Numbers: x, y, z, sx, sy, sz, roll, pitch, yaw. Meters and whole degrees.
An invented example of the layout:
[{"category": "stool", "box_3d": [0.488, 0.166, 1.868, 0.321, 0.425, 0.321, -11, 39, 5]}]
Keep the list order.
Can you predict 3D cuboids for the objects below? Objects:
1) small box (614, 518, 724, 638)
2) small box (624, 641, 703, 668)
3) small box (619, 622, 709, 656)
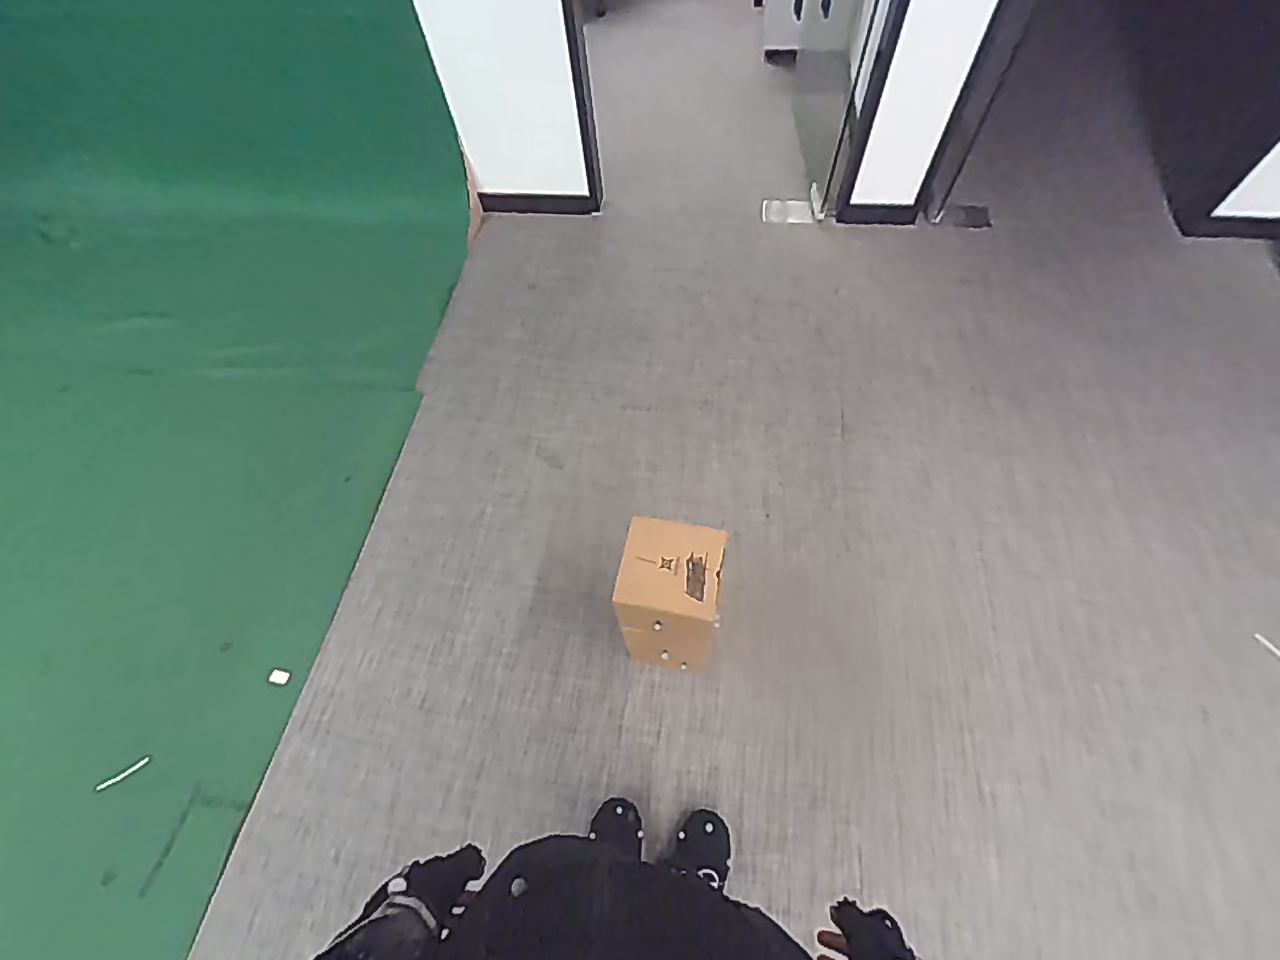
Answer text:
[{"category": "small box", "box_3d": [0.055, 0.189, 1.013, 0.179, 0.176, 0.168, 7, 62, 6]}, {"category": "small box", "box_3d": [0.067, 0.347, 1.300, 0.179, 0.176, 0.168, 6, 61, 8]}, {"category": "small box", "box_3d": [0.061, 0.270, 1.156, 0.179, 0.176, 0.168, 8, 62, 7]}]
